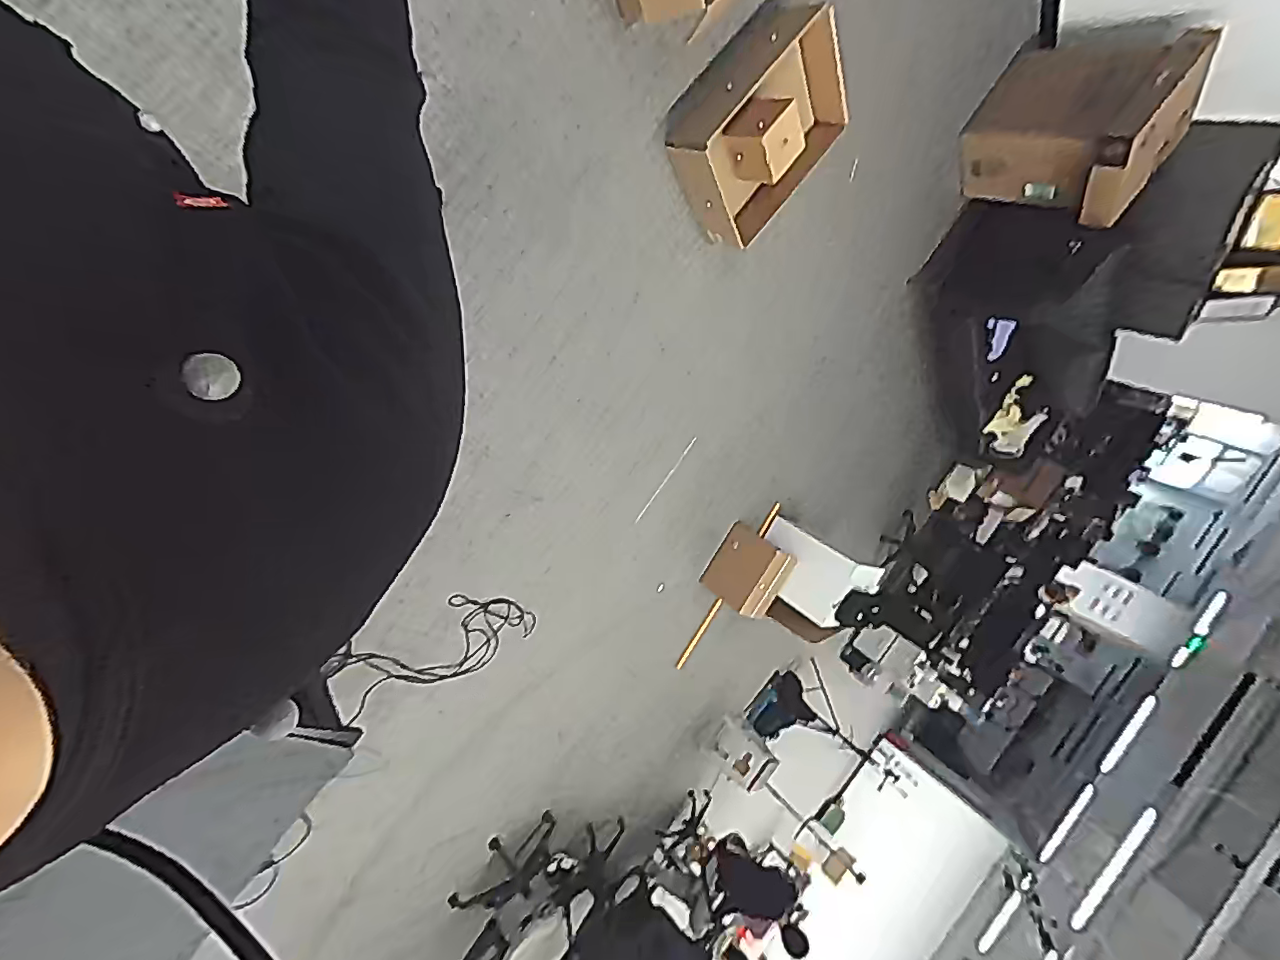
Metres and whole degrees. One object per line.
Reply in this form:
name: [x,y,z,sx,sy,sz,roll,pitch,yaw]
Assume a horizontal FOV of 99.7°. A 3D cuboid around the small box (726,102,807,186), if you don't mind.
small box: [0.410,-1.095,1.758,0.179,0.176,0.168,-52,141,-5]
